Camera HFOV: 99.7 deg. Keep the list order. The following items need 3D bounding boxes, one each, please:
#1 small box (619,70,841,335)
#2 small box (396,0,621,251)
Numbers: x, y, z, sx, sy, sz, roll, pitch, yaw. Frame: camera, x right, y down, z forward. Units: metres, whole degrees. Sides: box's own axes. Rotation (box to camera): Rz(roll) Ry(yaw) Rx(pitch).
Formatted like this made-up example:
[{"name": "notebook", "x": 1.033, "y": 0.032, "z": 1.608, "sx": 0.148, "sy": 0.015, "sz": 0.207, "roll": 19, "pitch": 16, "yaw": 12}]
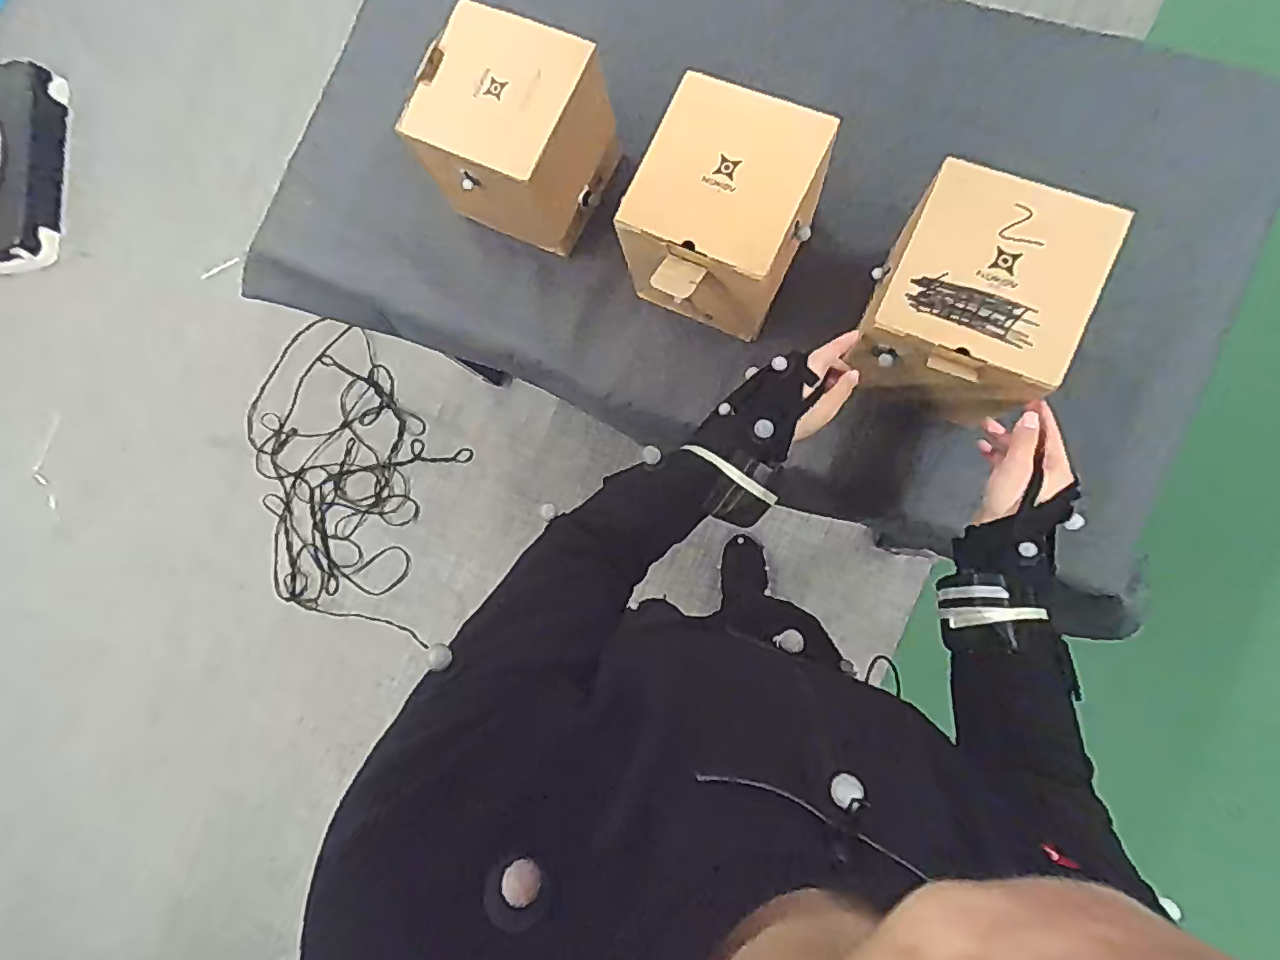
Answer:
[{"name": "small box", "x": 0.096, "y": -0.295, "z": 0.608, "sx": 0.168, "sy": 0.176, "sz": 0.179, "roll": 25, "pitch": 89, "yaw": 10}, {"name": "small box", "x": -0.144, "y": -0.410, "z": 0.654, "sx": 0.179, "sy": 0.176, "sz": 0.168, "roll": 27, "pitch": 89, "yaw": 9}]
